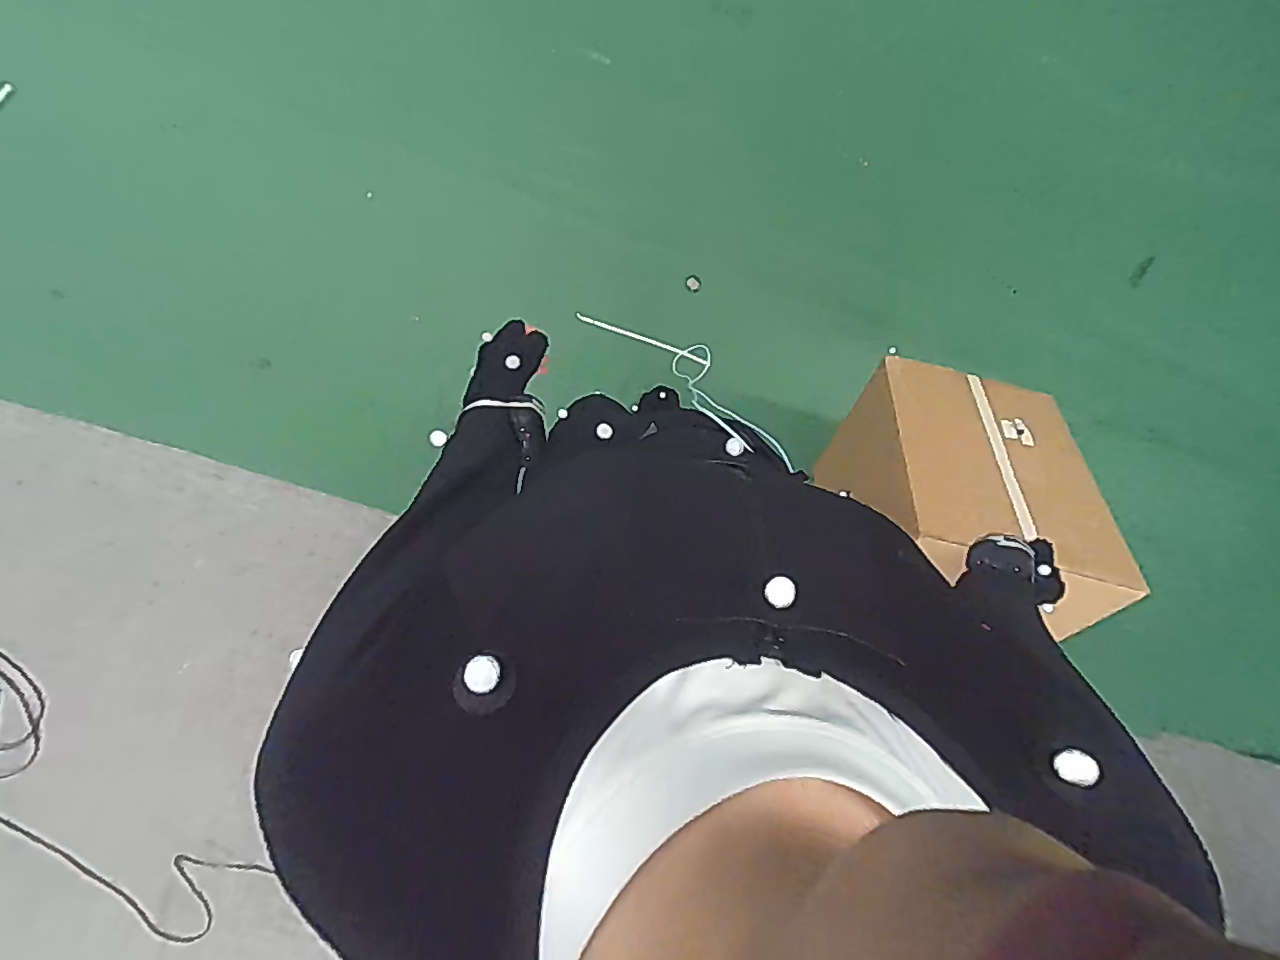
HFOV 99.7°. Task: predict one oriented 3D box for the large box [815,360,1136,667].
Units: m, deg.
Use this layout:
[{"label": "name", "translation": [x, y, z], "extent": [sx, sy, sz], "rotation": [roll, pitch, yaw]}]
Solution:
[{"label": "large box", "translation": [0.521, 0.058, 0.956], "extent": [0.320, 0.408, 0.320], "rotation": [14, 139, -1]}]
